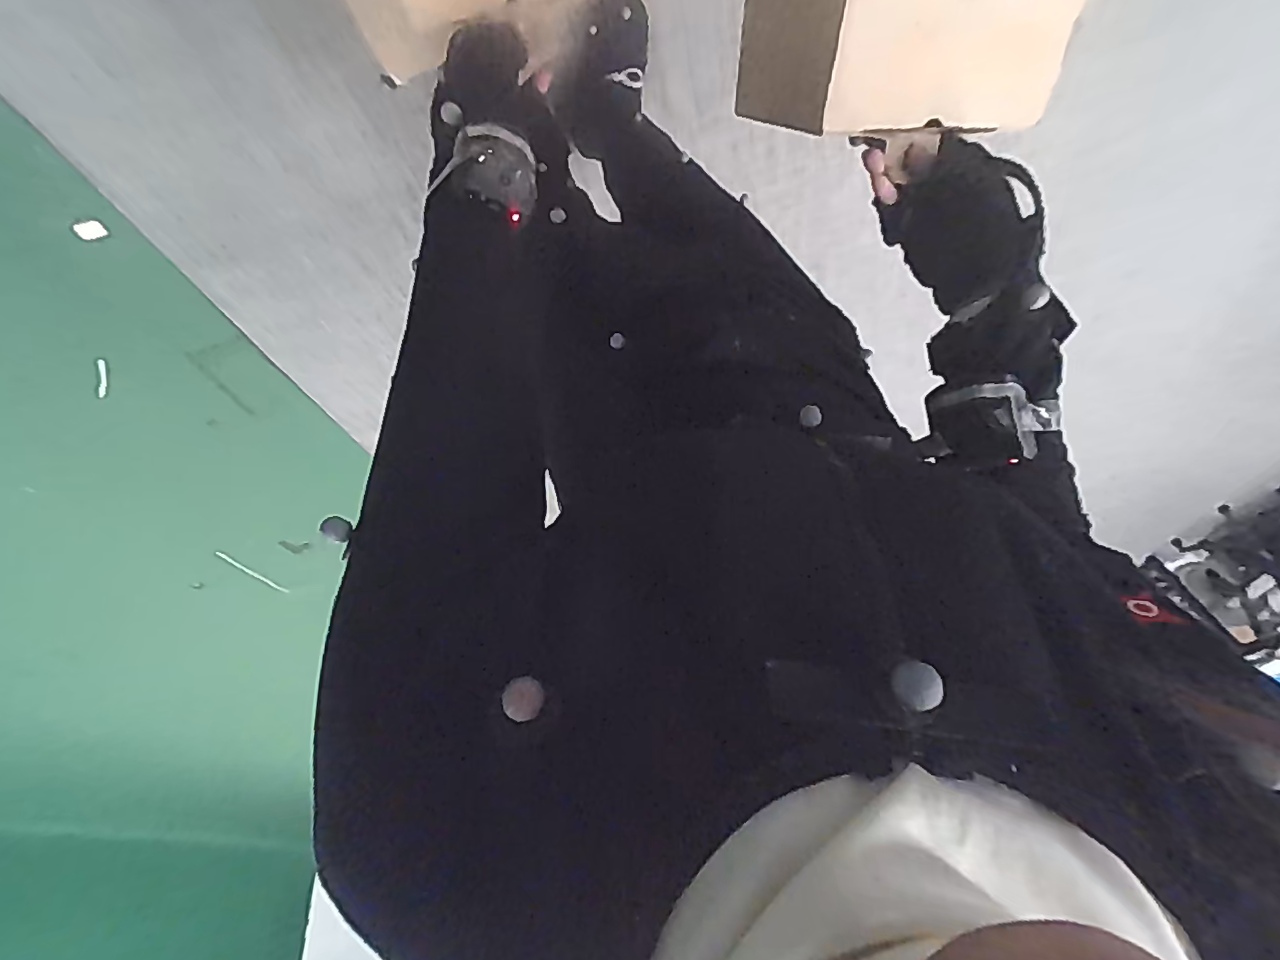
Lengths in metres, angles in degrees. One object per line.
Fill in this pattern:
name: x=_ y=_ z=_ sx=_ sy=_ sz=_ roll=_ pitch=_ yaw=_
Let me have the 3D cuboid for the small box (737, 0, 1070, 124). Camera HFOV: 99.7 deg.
small box: x=0.176 y=-0.364 z=0.376 sx=0.168 sy=0.176 sz=0.179 roll=-8 pitch=130 yaw=-9
